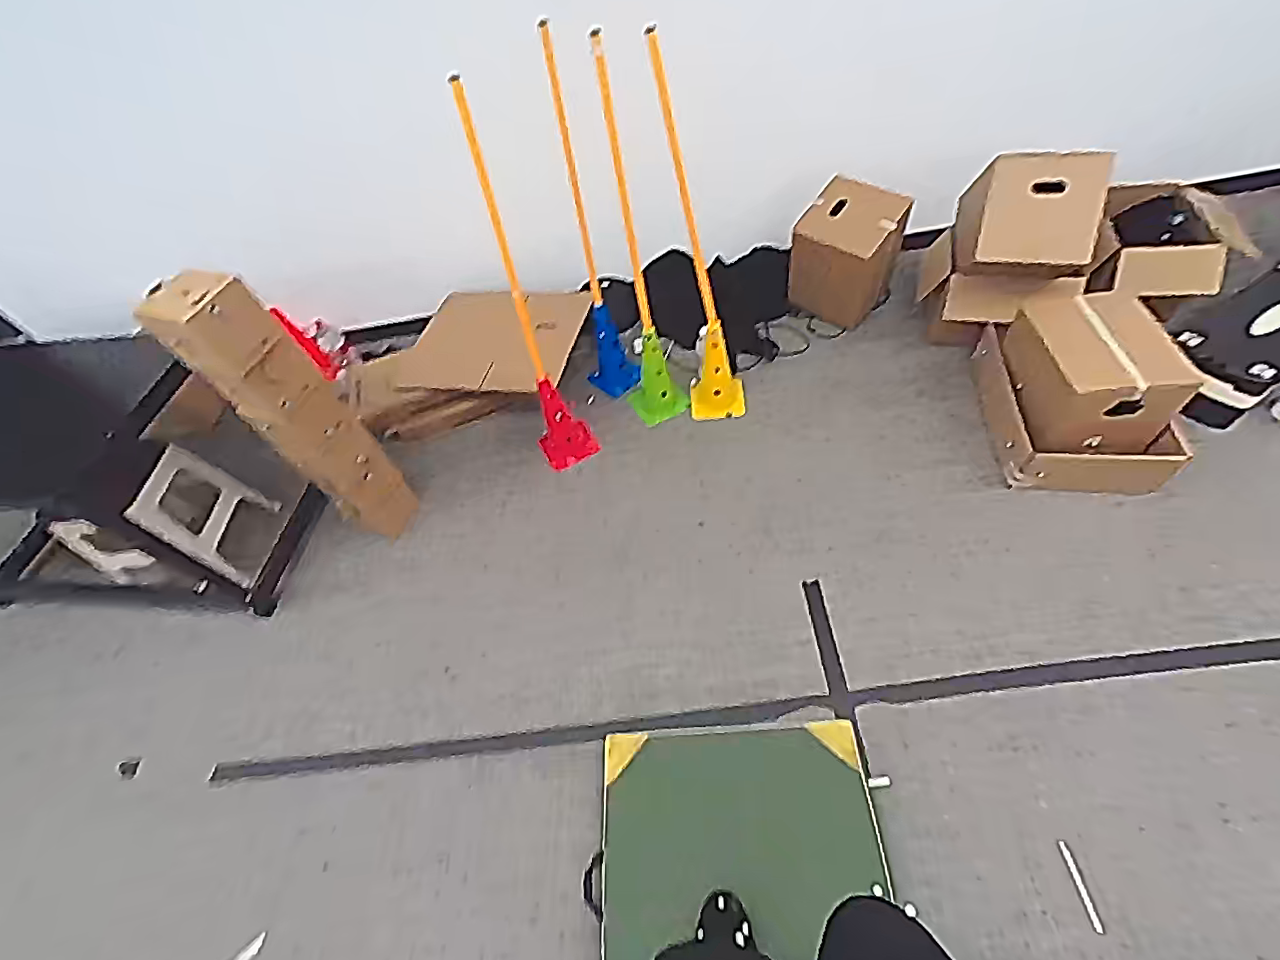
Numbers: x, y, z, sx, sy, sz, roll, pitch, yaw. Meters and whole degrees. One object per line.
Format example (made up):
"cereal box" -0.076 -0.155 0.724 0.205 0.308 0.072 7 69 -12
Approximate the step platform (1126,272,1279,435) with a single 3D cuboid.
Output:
"step platform" 1.999 -0.433 1.797 0.684 0.204 0.286 -31 54 -13
